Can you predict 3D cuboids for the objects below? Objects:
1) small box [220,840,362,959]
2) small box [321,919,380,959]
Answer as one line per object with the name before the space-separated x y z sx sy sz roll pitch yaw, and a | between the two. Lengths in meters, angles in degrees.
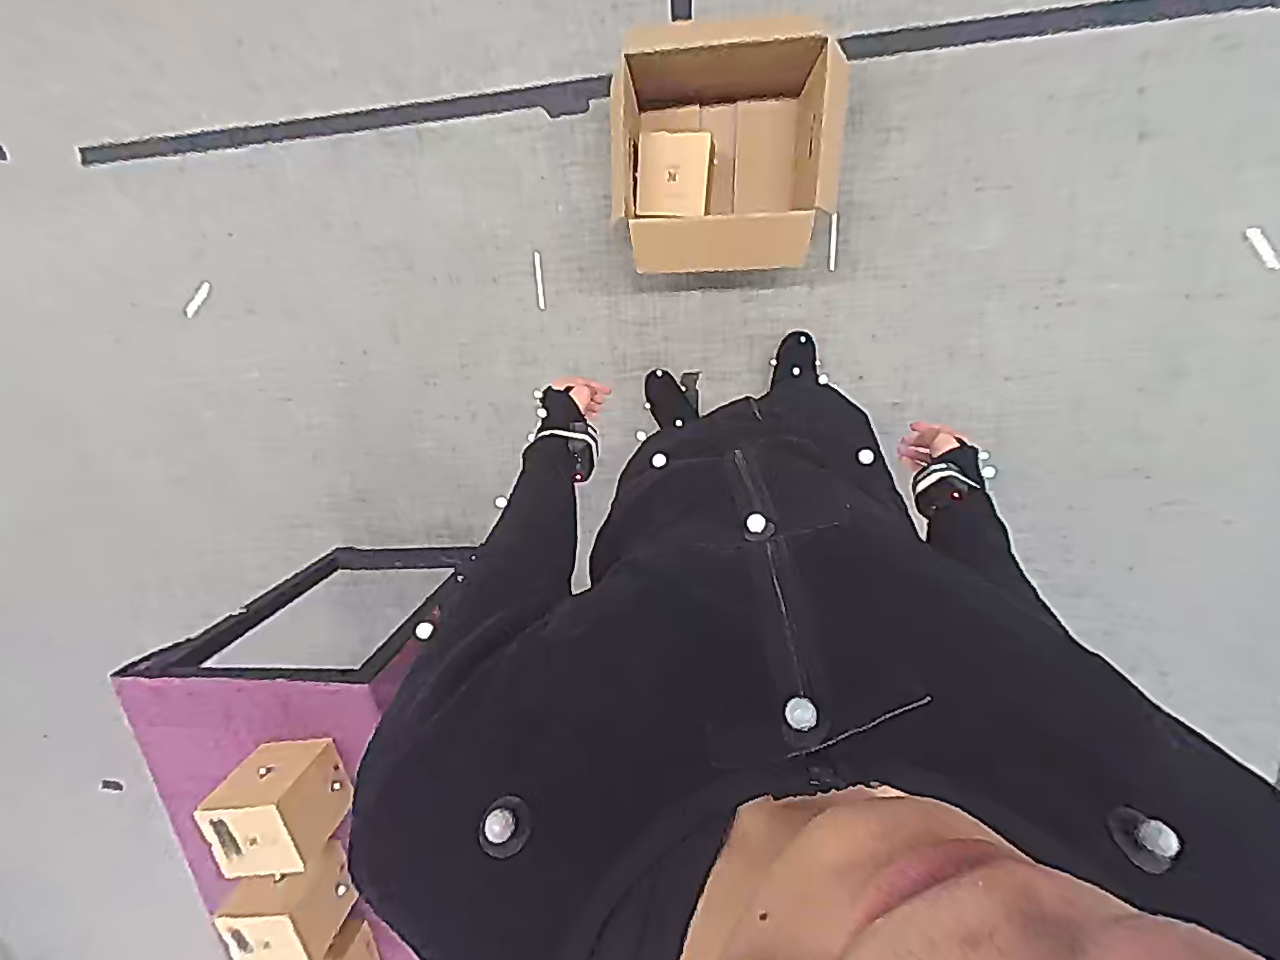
small box | -0.757 0.931 1.193 0.179 0.176 0.168 -7 106 8
small box | -0.733 1.162 1.260 0.179 0.176 0.168 -4 106 8
